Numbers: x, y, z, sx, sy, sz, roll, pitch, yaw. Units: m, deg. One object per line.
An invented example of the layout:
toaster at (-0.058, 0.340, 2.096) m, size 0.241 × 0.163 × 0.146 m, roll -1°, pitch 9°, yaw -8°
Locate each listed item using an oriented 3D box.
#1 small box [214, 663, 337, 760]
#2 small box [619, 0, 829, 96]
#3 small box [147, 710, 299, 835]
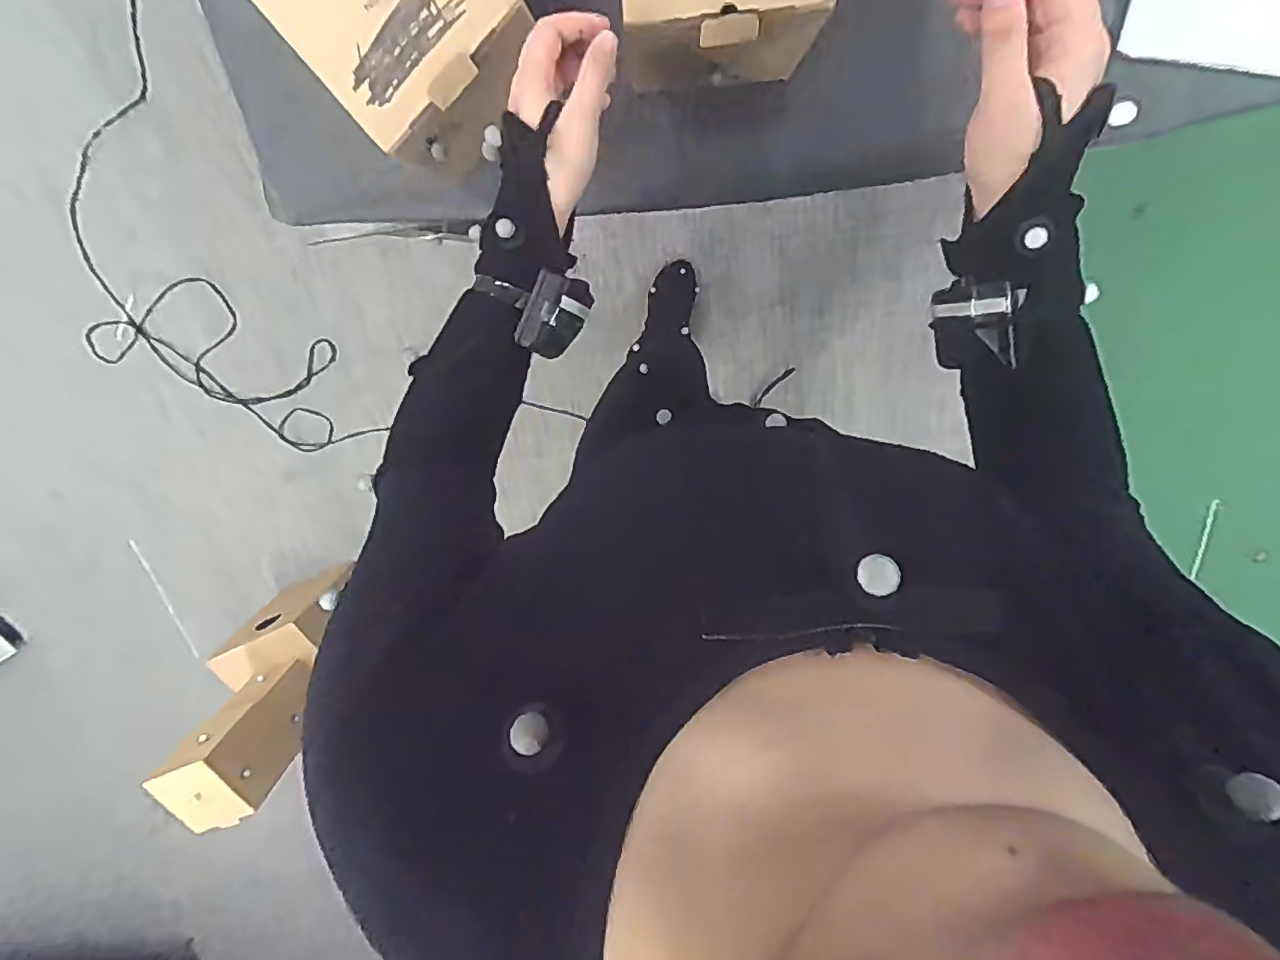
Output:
small box at (-0.931, 0.609, 1.392) m, size 0.168 × 0.176 × 0.179 m, roll -24°, pitch 109°, yaw 10°
small box at (0.063, -0.468, 0.468) m, size 0.168 × 0.176 × 0.179 m, roll -3°, pitch 111°, yaw 5°
small box at (-0.940, 0.658, 1.237) m, size 0.168 × 0.176 × 0.179 m, roll -23°, pitch 109°, yaw 9°
